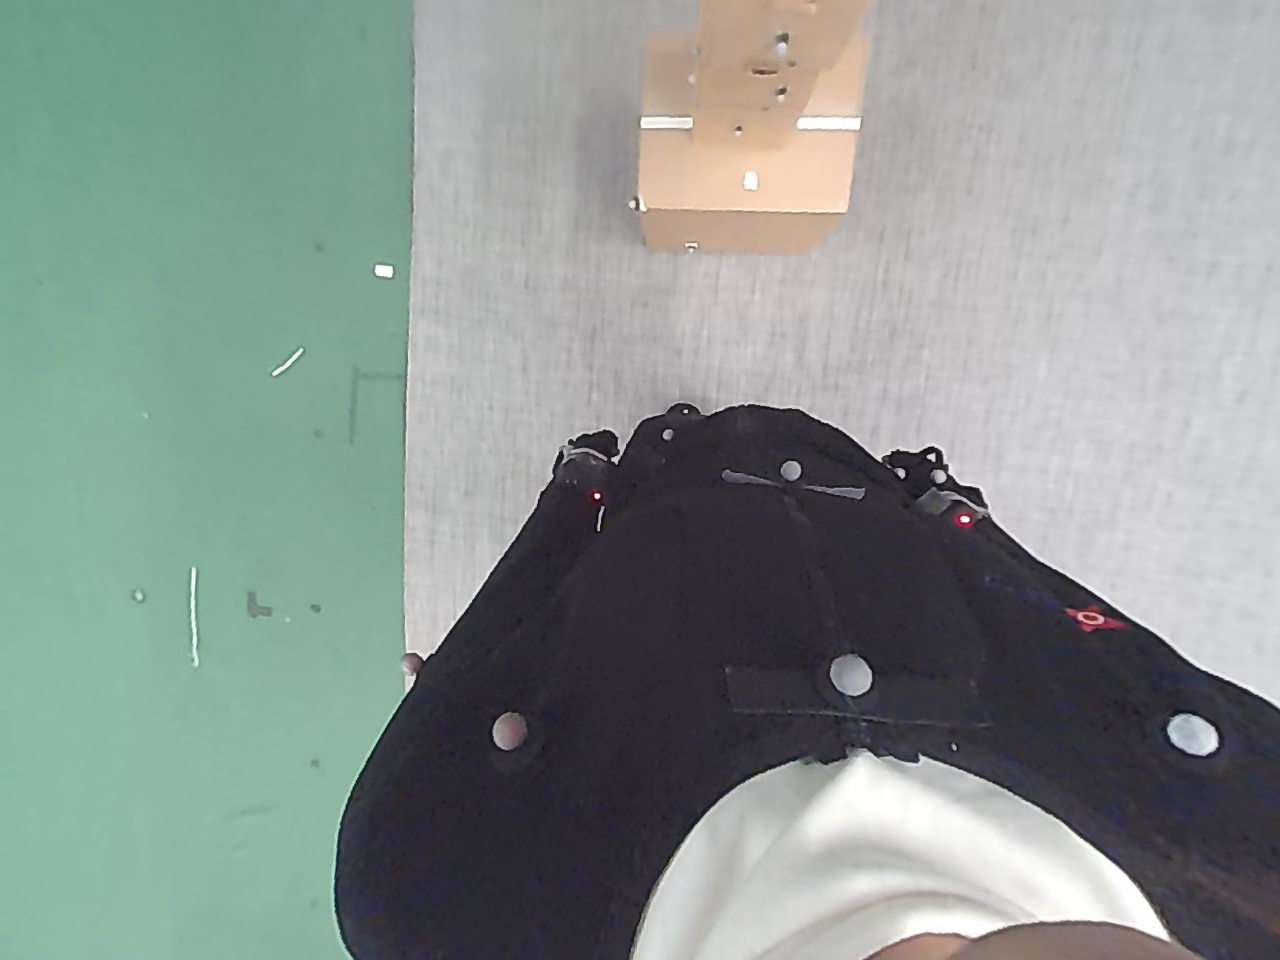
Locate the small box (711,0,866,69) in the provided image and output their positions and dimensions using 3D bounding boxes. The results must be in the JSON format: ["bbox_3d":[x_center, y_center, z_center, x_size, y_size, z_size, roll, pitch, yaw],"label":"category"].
[{"bbox_3d":[0.170,-0.602,0.614,0.168,0.176,0.179,5,105,5],"label":"small box"}]

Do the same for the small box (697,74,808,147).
[{"bbox_3d":[0.190,-0.690,0.927,0.179,0.176,0.168,3,105,5],"label":"small box"}]

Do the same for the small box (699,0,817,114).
[{"bbox_3d":[0.173,-0.651,0.771,0.168,0.176,0.179,4,104,4],"label":"small box"}]
